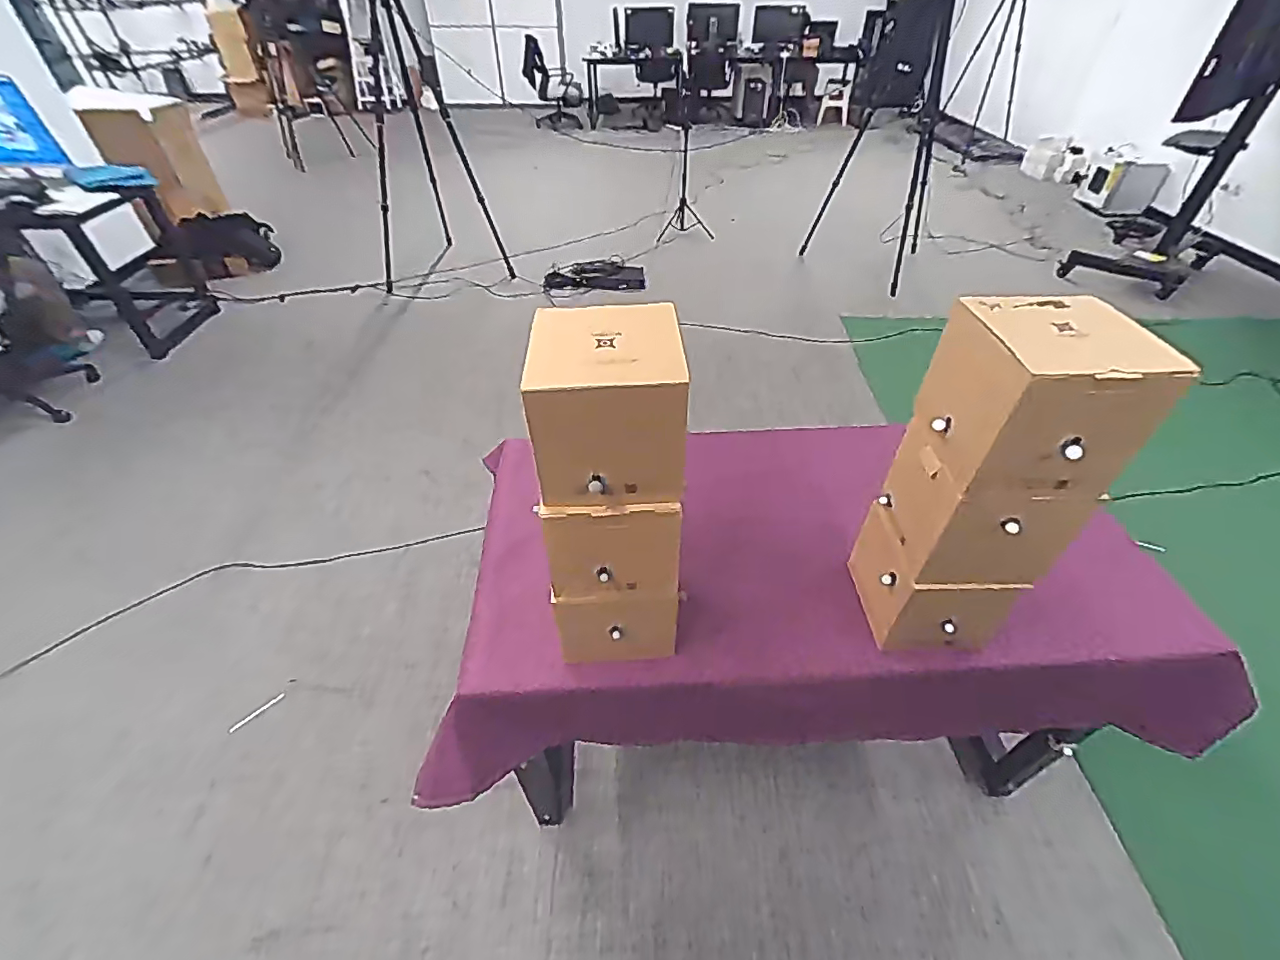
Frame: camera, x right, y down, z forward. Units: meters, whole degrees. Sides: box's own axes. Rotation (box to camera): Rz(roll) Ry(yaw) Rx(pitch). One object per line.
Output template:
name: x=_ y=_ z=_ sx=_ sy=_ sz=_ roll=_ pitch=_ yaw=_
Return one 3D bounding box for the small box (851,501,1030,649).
small box: x=0.457 y=0.153 z=0.857 sx=0.168 sy=0.176 sz=0.179 roll=0 pitch=43 yaw=0

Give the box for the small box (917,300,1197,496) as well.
small box: x=0.462 y=-0.095 z=0.639 sx=0.168 sy=0.176 sz=0.179 roll=0 pitch=44 yaw=0

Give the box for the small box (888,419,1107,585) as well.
small box: x=0.464 y=0.031 z=0.746 sx=0.179 sy=0.176 sz=0.168 roll=1 pitch=44 yaw=0

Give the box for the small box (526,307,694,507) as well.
small box: x=-0.031 y=-0.086 z=0.636 sx=0.168 sy=0.176 sz=0.179 roll=-2 pitch=44 yaw=-1

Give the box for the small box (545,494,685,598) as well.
small box: x=-0.032 y=0.041 z=0.739 sx=0.168 sy=0.176 sz=0.179 roll=-2 pitch=44 yaw=-2
